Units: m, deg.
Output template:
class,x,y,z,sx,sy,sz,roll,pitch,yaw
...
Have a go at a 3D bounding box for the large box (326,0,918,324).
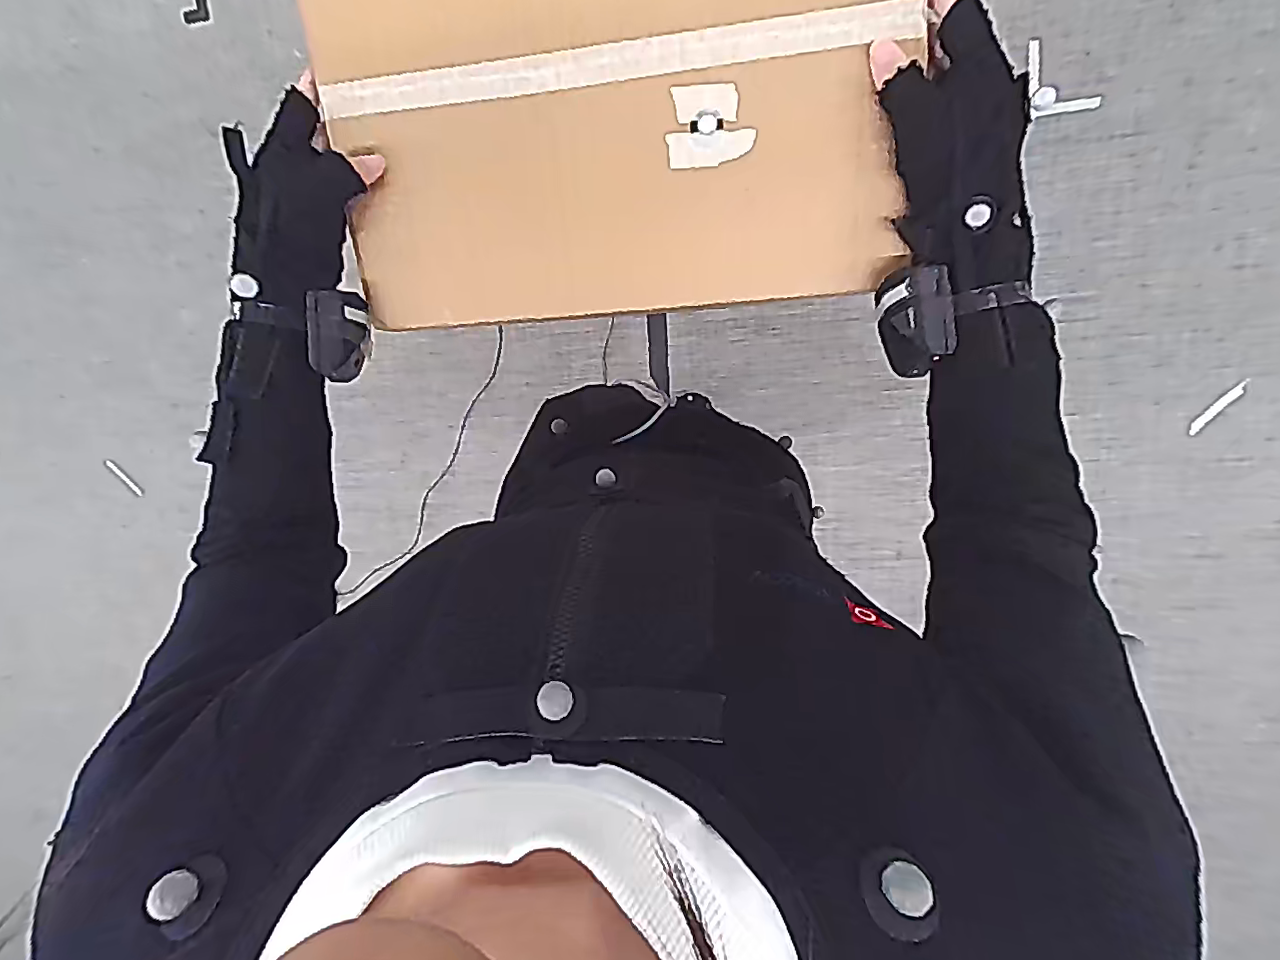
class,x,y,z,sx,sy,sz,roll,pitch,yaw
large box,-0.005,-0.329,0.512,0.408,0.320,0.320,-3,108,7
